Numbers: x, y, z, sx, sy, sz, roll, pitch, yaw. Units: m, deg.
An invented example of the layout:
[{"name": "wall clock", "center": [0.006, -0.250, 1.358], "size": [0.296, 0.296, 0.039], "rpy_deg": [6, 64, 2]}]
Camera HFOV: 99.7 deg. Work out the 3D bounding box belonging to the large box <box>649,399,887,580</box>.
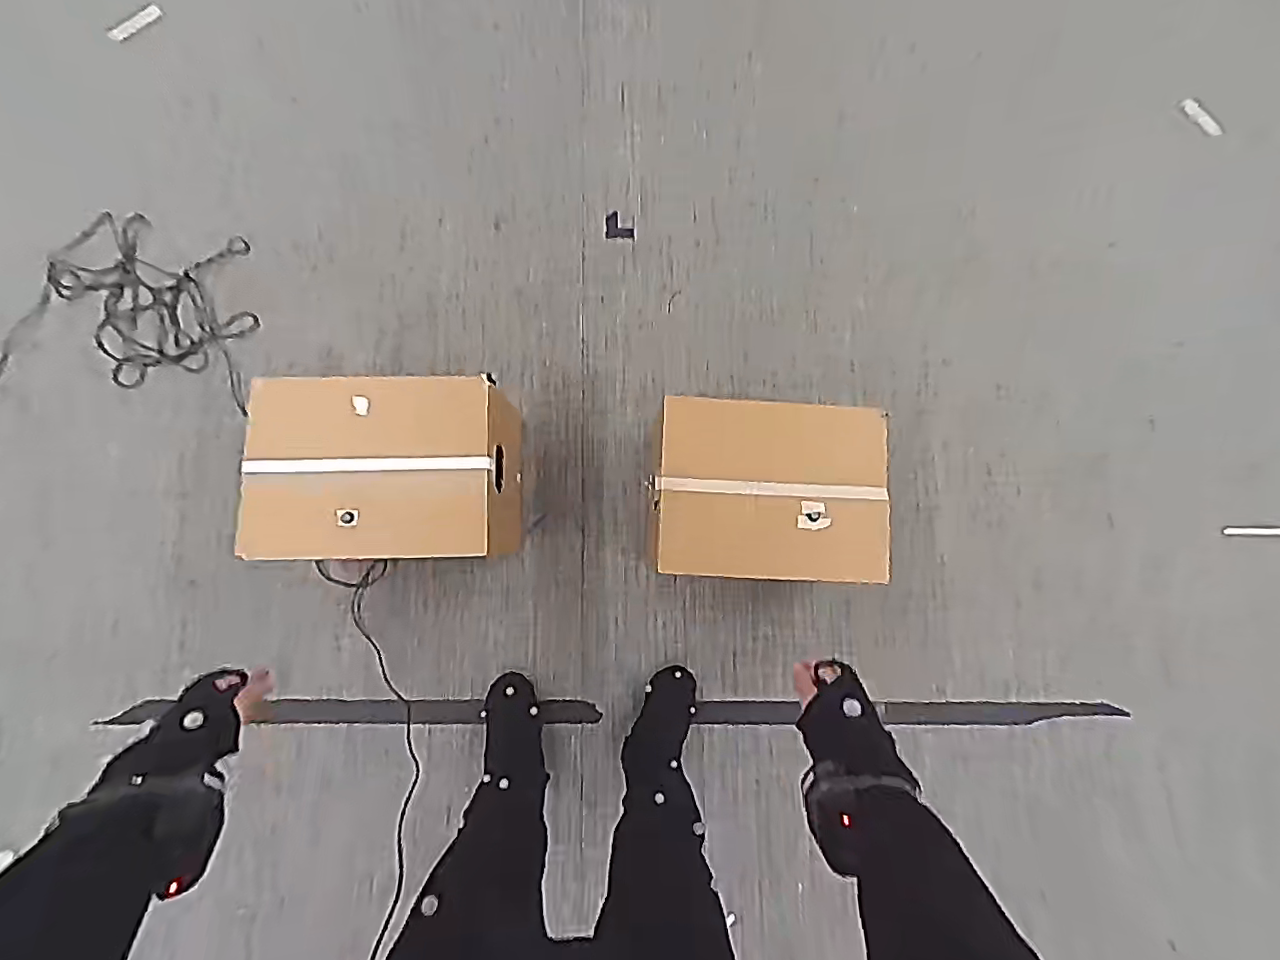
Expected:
[{"name": "large box", "center": [0.231, 0.036, 1.102], "size": [0.408, 0.320, 0.320], "rpy_deg": [3, 83, -3]}]
